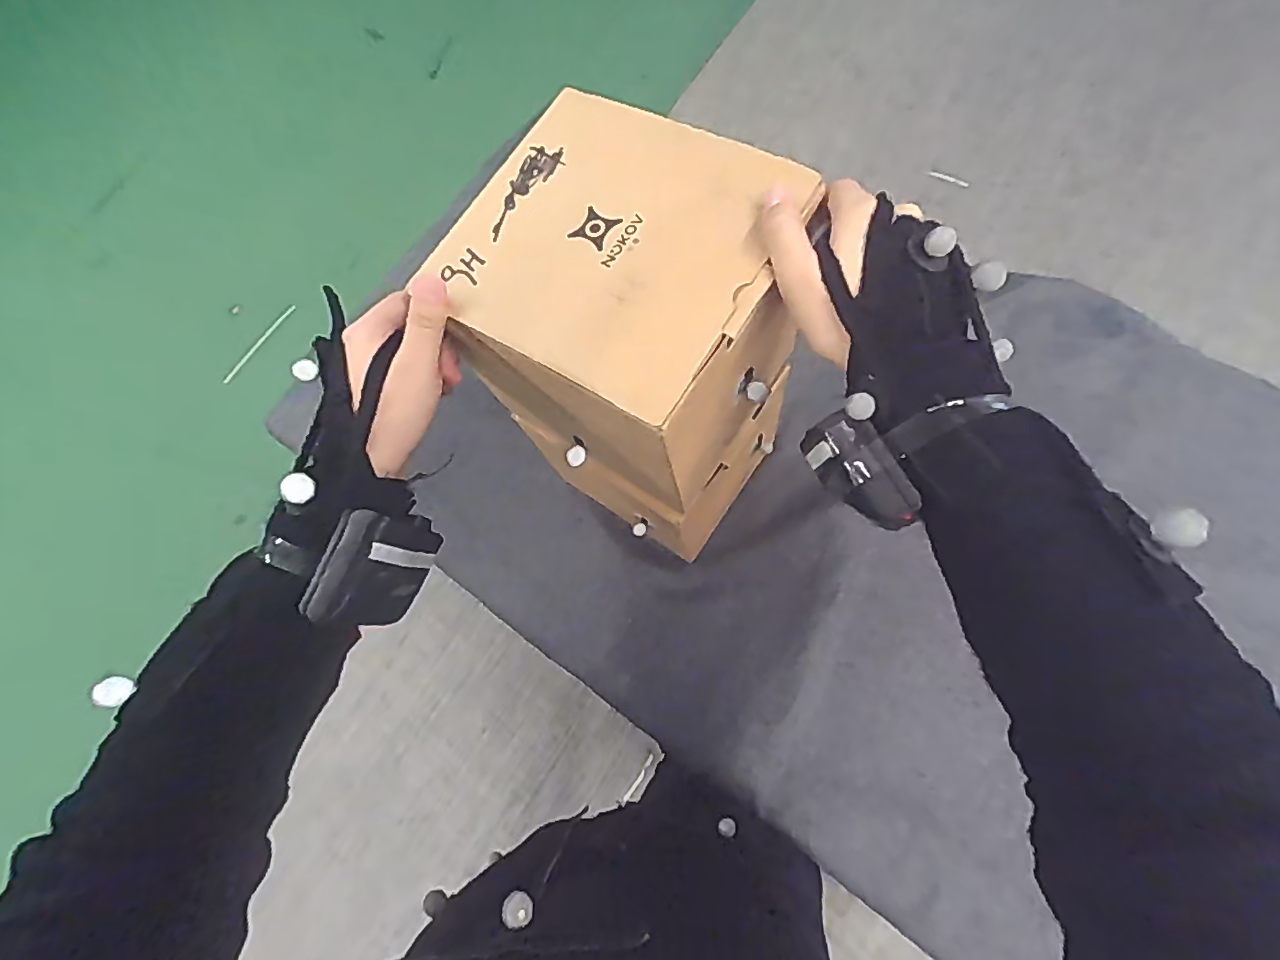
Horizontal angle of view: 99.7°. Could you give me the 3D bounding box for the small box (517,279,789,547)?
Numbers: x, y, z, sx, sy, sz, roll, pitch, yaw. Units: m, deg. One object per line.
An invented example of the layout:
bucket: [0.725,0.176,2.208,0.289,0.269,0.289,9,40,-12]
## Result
small box: [0.020,-0.051,0.527,0.179,0.176,0.168,32,77,17]
